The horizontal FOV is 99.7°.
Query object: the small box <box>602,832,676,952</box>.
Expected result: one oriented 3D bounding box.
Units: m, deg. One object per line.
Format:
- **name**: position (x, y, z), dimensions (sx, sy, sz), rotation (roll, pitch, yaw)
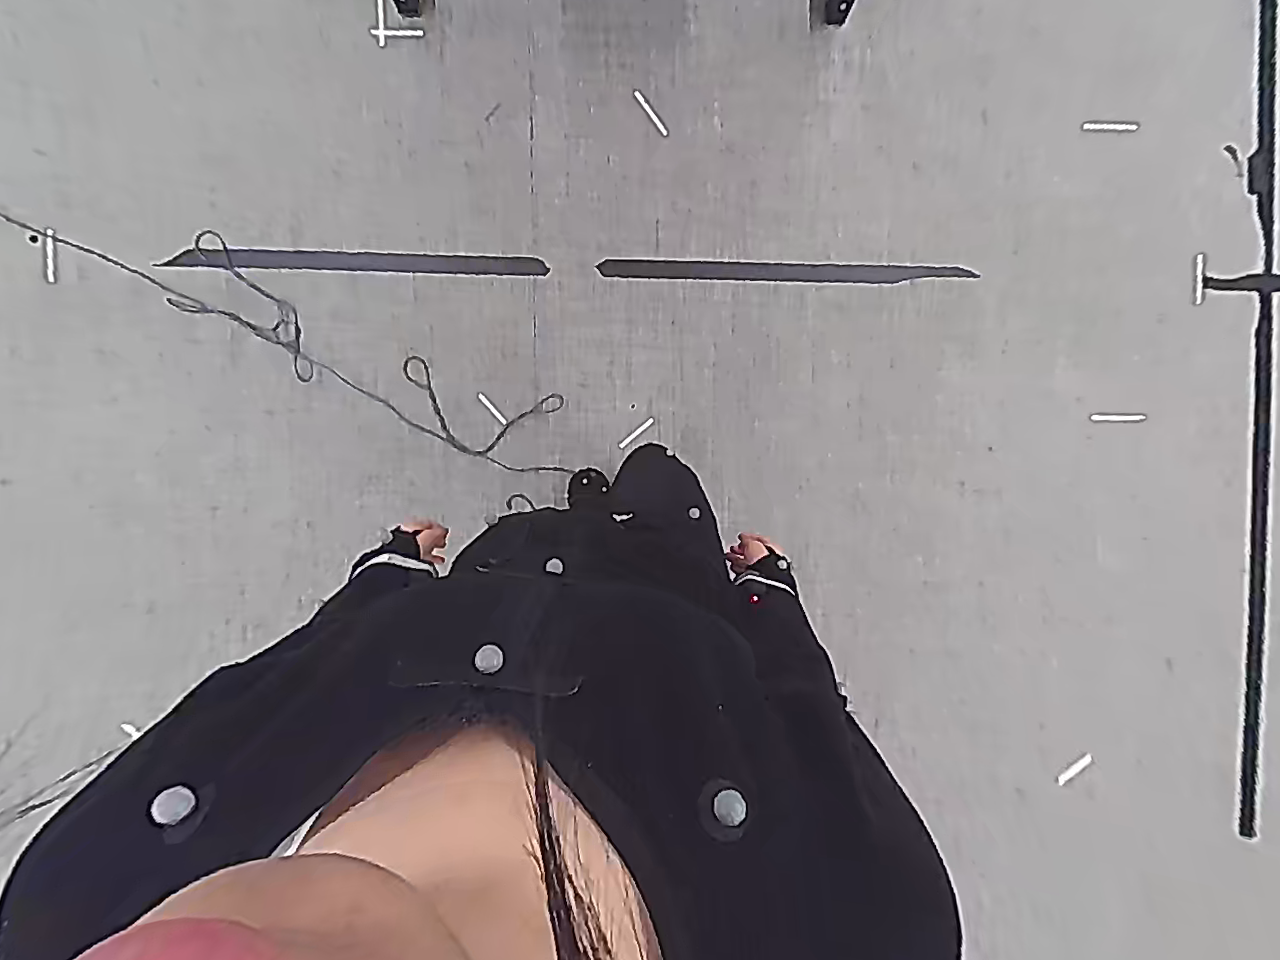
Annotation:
- **small box**: position (-0.004, 1.079, 1.427), dimensions (0.168, 0.176, 0.179), rotation (-9, 92, -3)
